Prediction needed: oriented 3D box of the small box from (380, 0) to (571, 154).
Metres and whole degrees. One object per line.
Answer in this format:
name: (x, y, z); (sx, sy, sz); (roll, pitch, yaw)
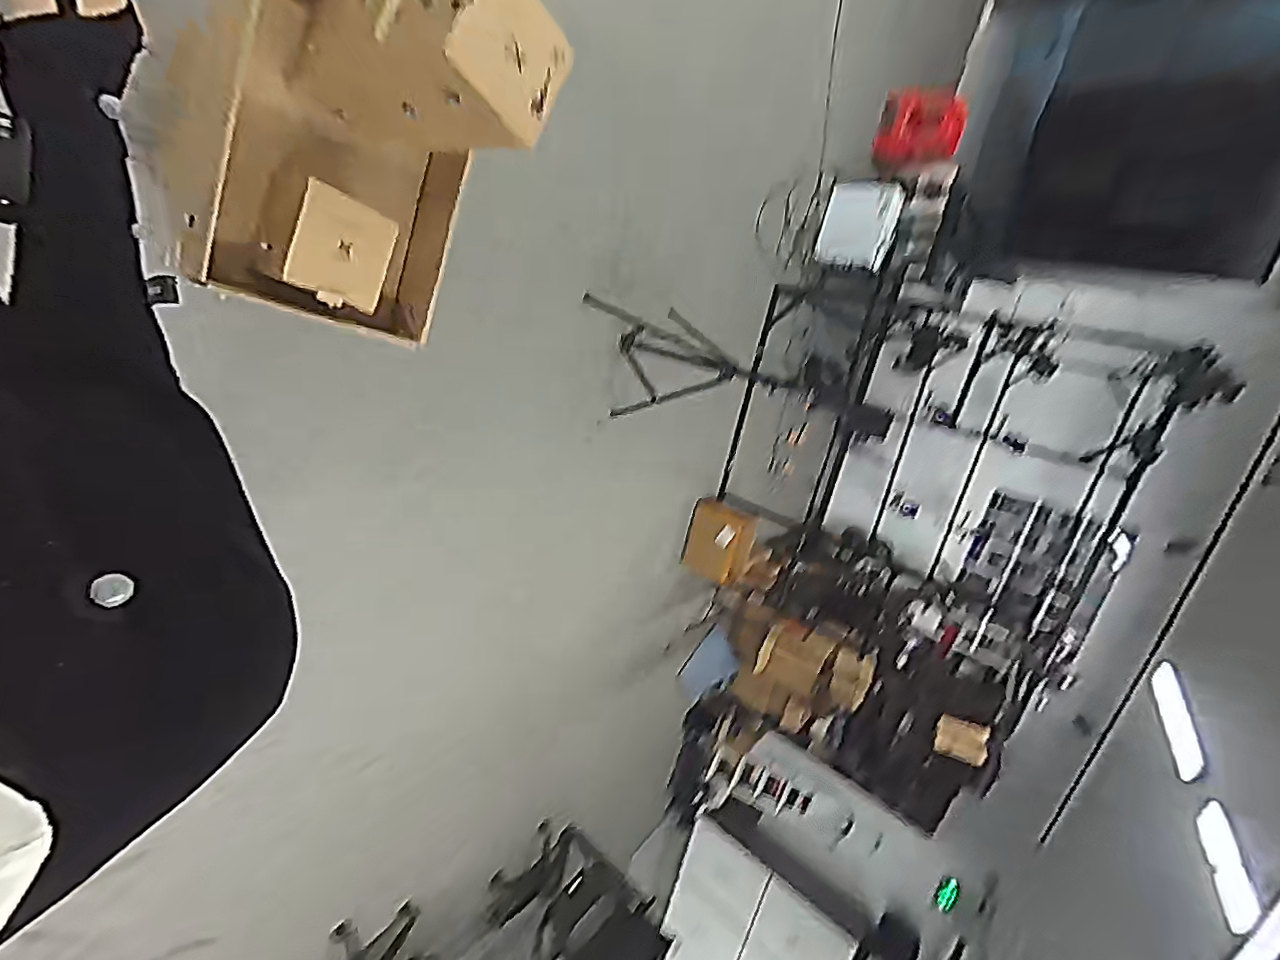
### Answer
small box: (-0.242, -0.609, 0.793); (0.179, 0.176, 0.168); (27, 87, -57)

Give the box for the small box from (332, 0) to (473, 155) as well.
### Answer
small box: (-0.365, -0.665, 0.887); (0.179, 0.176, 0.168); (20, 93, -58)
